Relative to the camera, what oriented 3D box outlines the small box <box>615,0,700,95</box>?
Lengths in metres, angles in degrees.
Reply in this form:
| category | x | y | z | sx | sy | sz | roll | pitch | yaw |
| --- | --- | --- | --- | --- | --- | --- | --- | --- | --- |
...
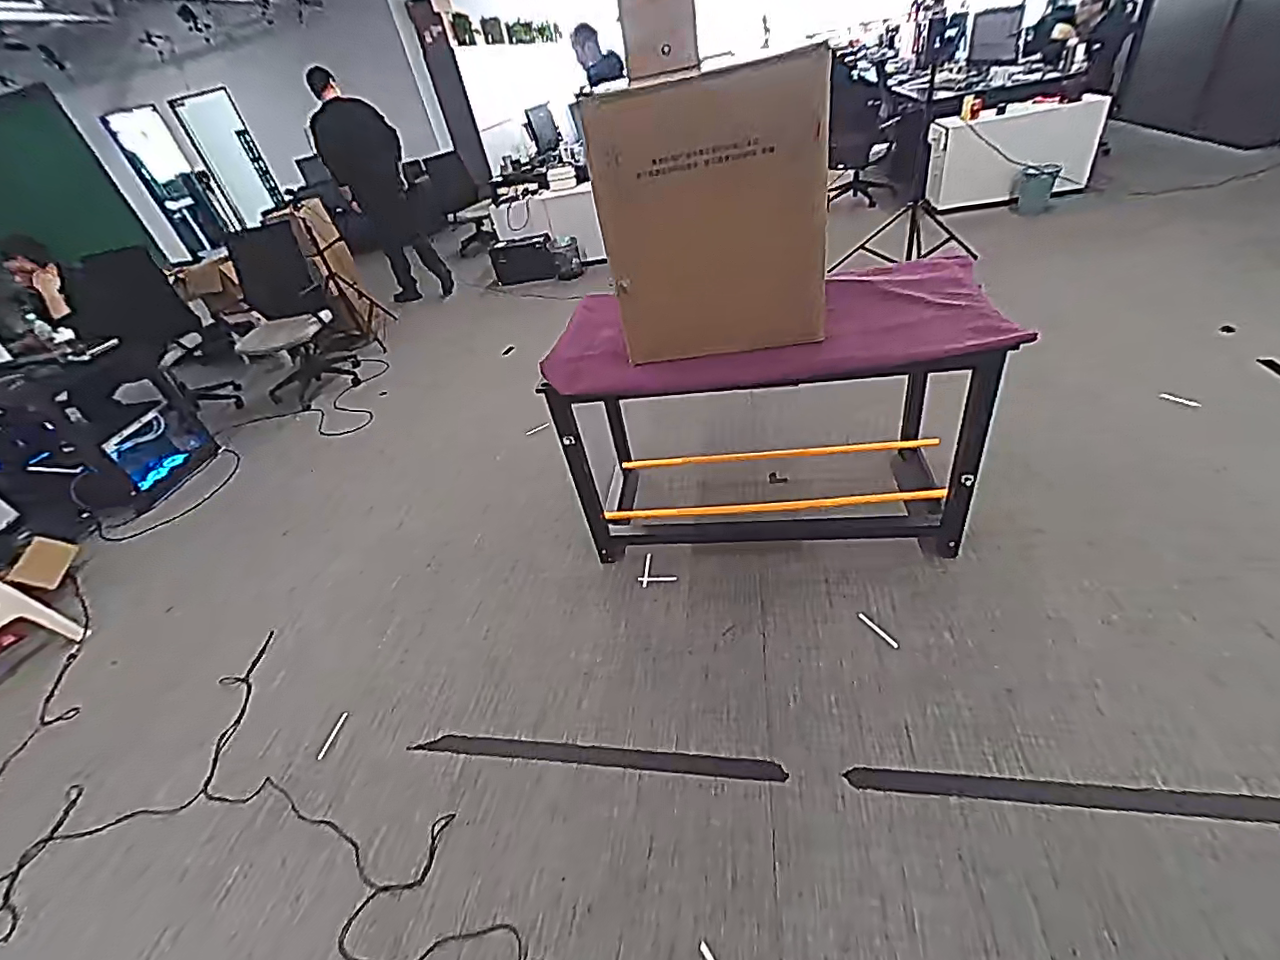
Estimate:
| category | x | y | z | sx | sy | sz | roll | pitch | yaw |
| --- | --- | --- | --- | --- | --- | --- | --- | --- | --- |
| small box | 0.046 | -1.039 | 1.284 | 0.179 | 0.176 | 0.168 | -5 | 38 | 9 |
